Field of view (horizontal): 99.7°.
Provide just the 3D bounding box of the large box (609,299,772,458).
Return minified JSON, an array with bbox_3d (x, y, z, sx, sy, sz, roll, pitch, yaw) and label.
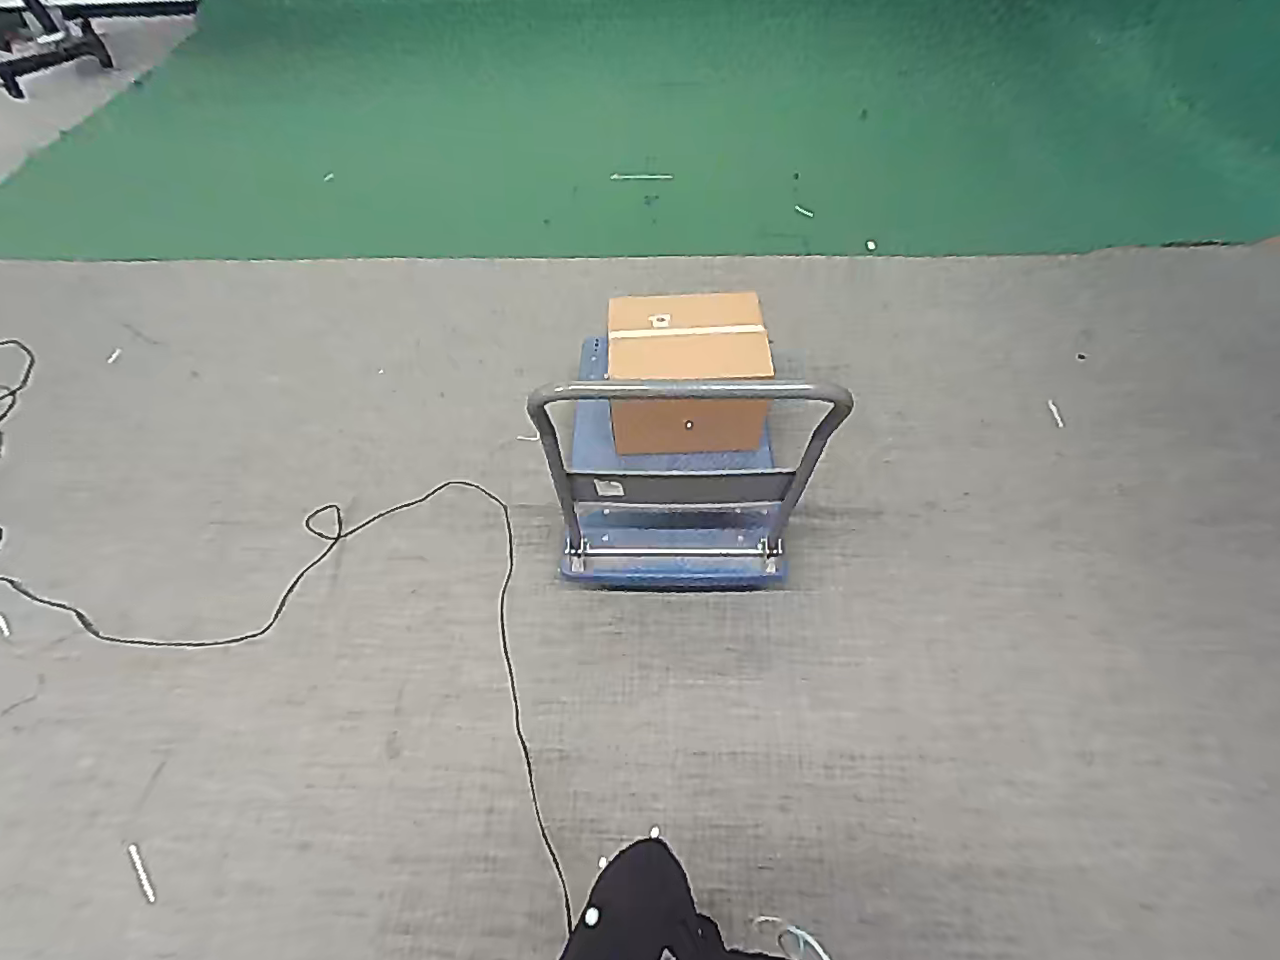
[{"bbox_3d":[0.128,-0.278,1.524,0.408,0.320,0.320,-3,56,1],"label":"large box"}]
